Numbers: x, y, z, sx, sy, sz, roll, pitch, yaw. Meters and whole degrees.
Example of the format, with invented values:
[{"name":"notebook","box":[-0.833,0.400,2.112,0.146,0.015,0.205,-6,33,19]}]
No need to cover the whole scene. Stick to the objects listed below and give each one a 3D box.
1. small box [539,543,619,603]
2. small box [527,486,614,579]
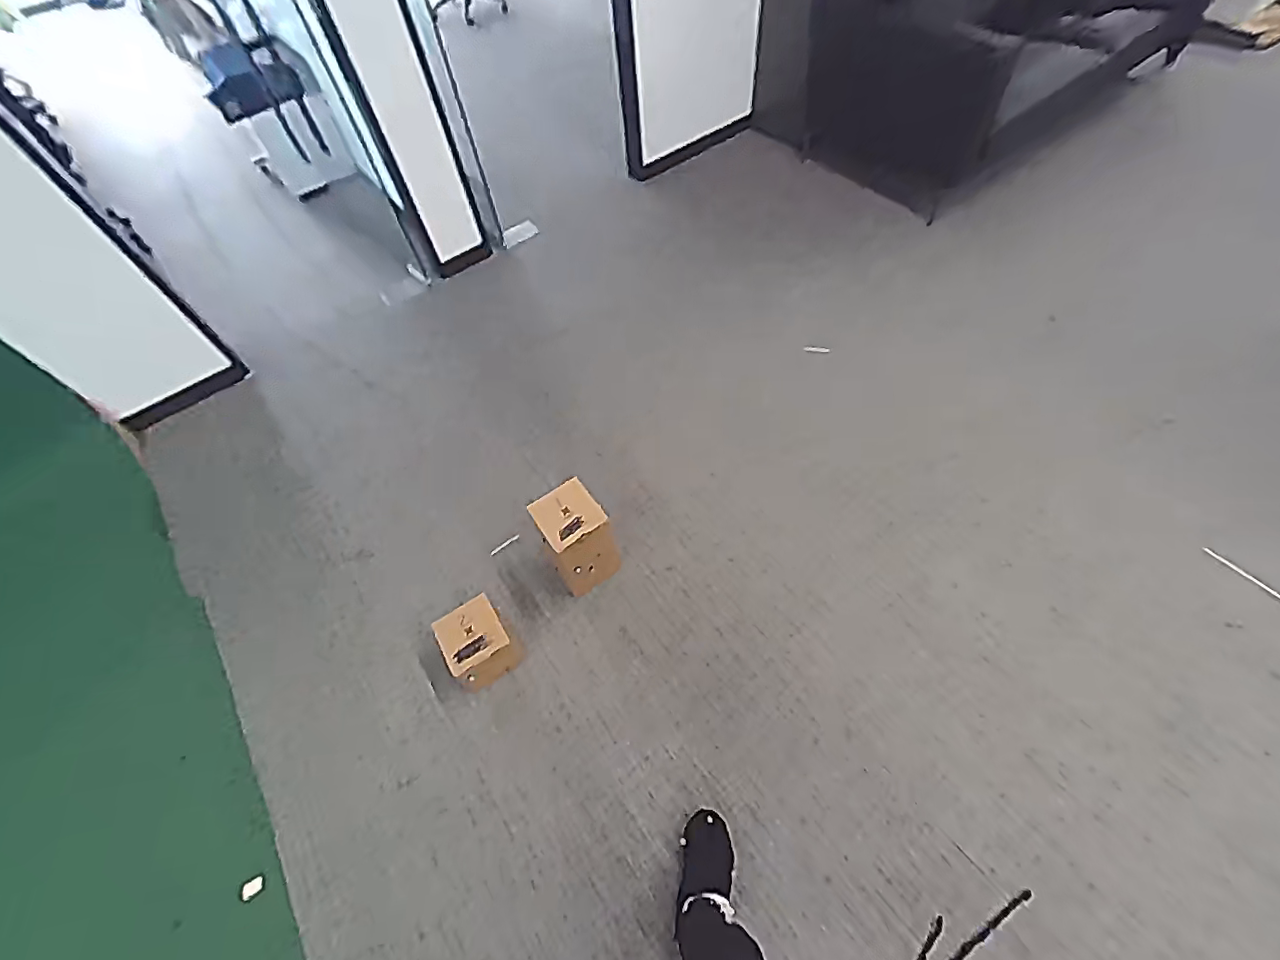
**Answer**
[{"name":"small box","box":[-0.181,0.247,1.660,0.179,0.176,0.168,-32,60,-17]},{"name":"small box","box":[-0.188,0.156,1.522,0.168,0.176,0.179,-32,58,-15]}]
